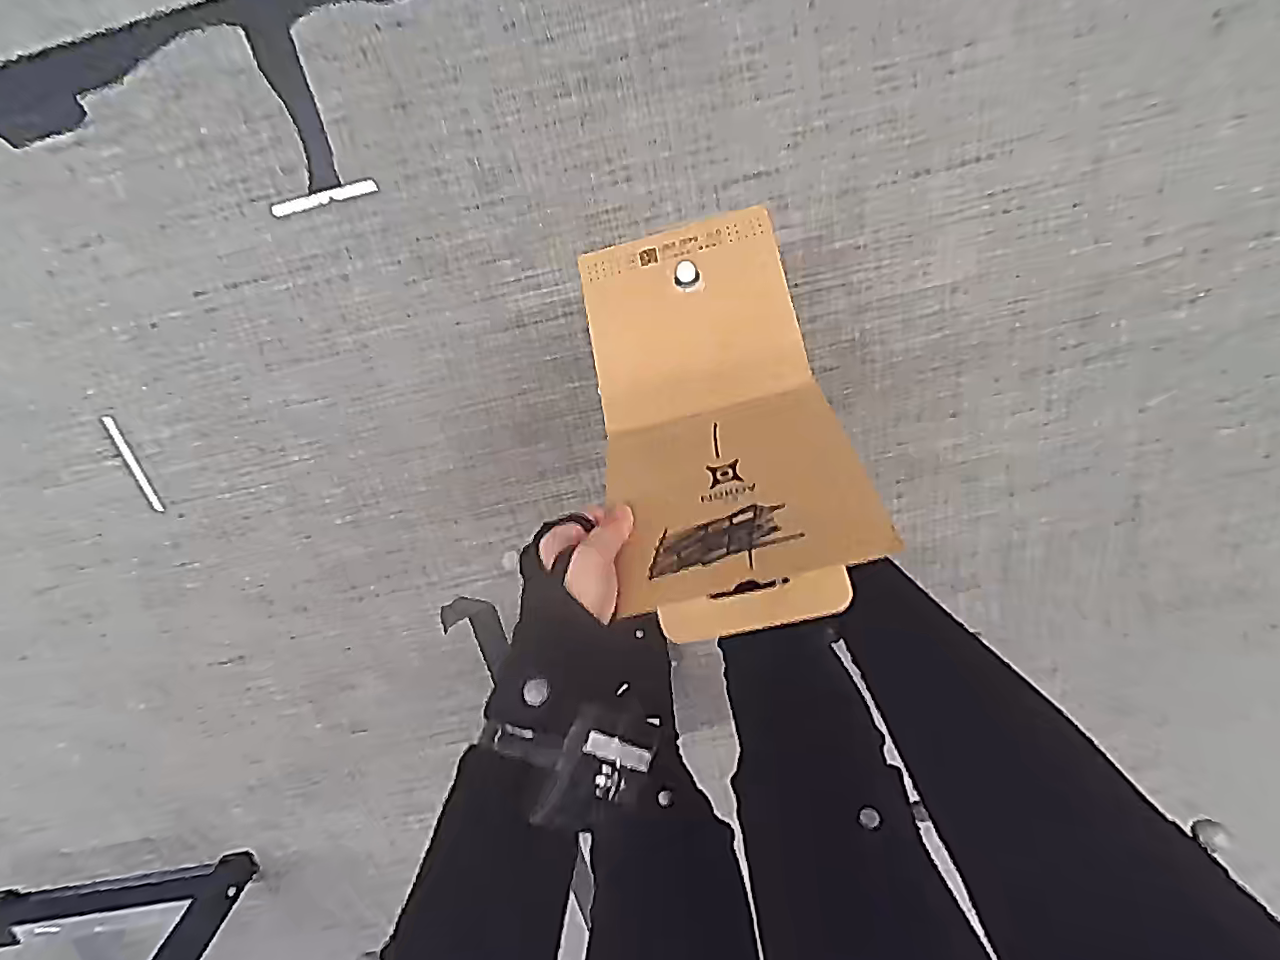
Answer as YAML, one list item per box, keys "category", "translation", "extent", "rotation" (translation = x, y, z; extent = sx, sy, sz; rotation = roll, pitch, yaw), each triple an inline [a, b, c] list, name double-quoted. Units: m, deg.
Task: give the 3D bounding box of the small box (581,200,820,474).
- category: "small box"
  translation: [0.054, -0.118, 0.505]
  extent: [0.168, 0.179, 0.176]
  rotation: [-13, 76, 8]
